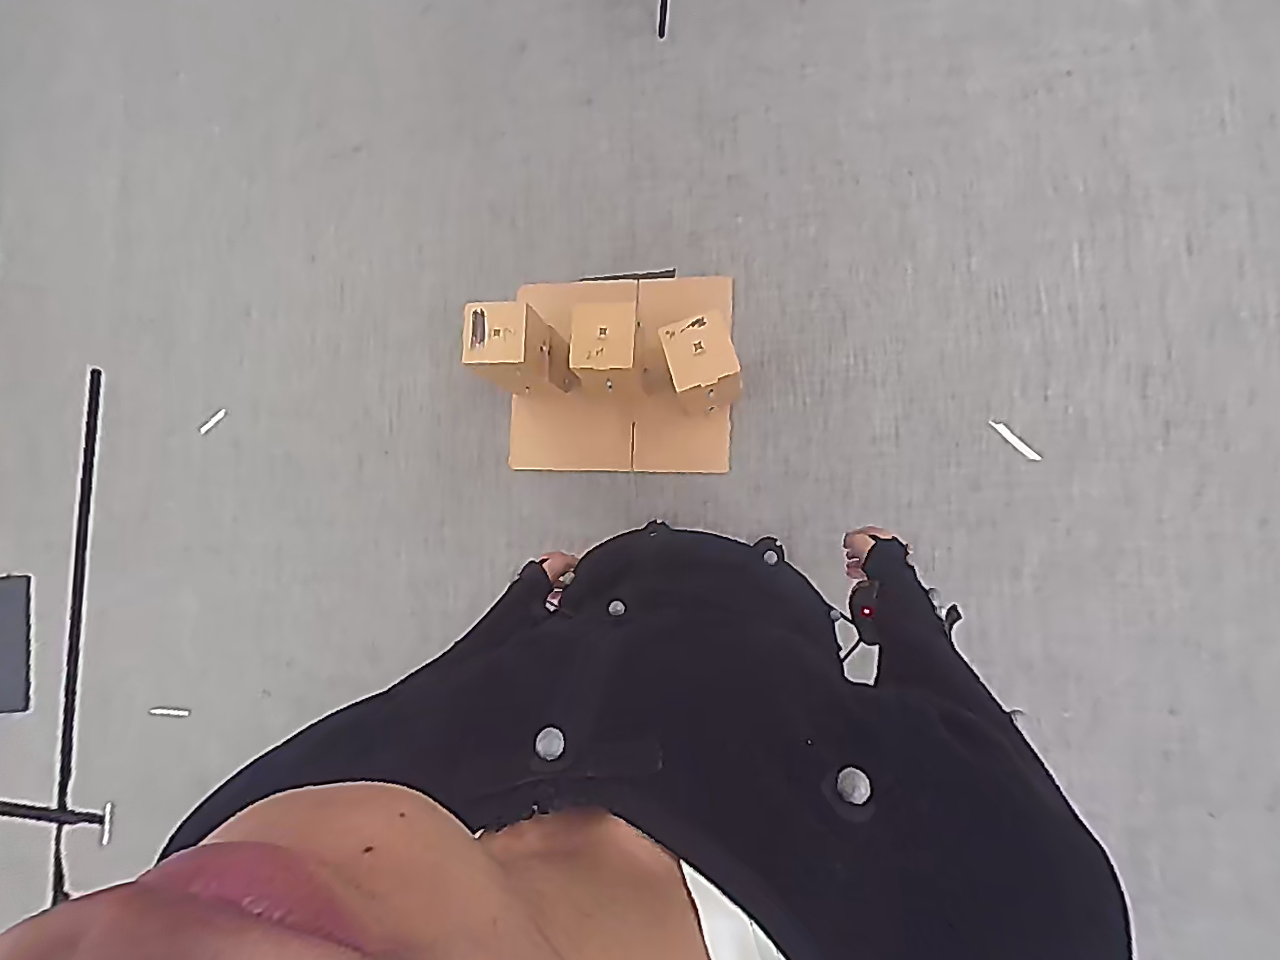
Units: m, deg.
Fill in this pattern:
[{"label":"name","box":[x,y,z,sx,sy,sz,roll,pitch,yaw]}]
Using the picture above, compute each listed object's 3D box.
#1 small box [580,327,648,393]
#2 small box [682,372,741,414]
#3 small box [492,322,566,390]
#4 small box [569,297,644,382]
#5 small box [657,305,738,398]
[{"label":"small box","box":[-0.071,-0.360,1.612,0.179,0.176,0.168,3,87,8]},{"label":"small box","box":[0.186,-0.311,1.568,0.168,0.176,0.179,-19,83,8]},{"label":"small box","box":[-0.333,-0.375,1.650,0.179,0.176,0.168,1,86,10]},{"label":"small box","box":[-0.085,-0.373,1.447,0.168,0.176,0.179,3,87,9]},{"label":"small box","box":[0.154,-0.322,1.408,0.168,0.176,0.179,-17,84,8]}]
